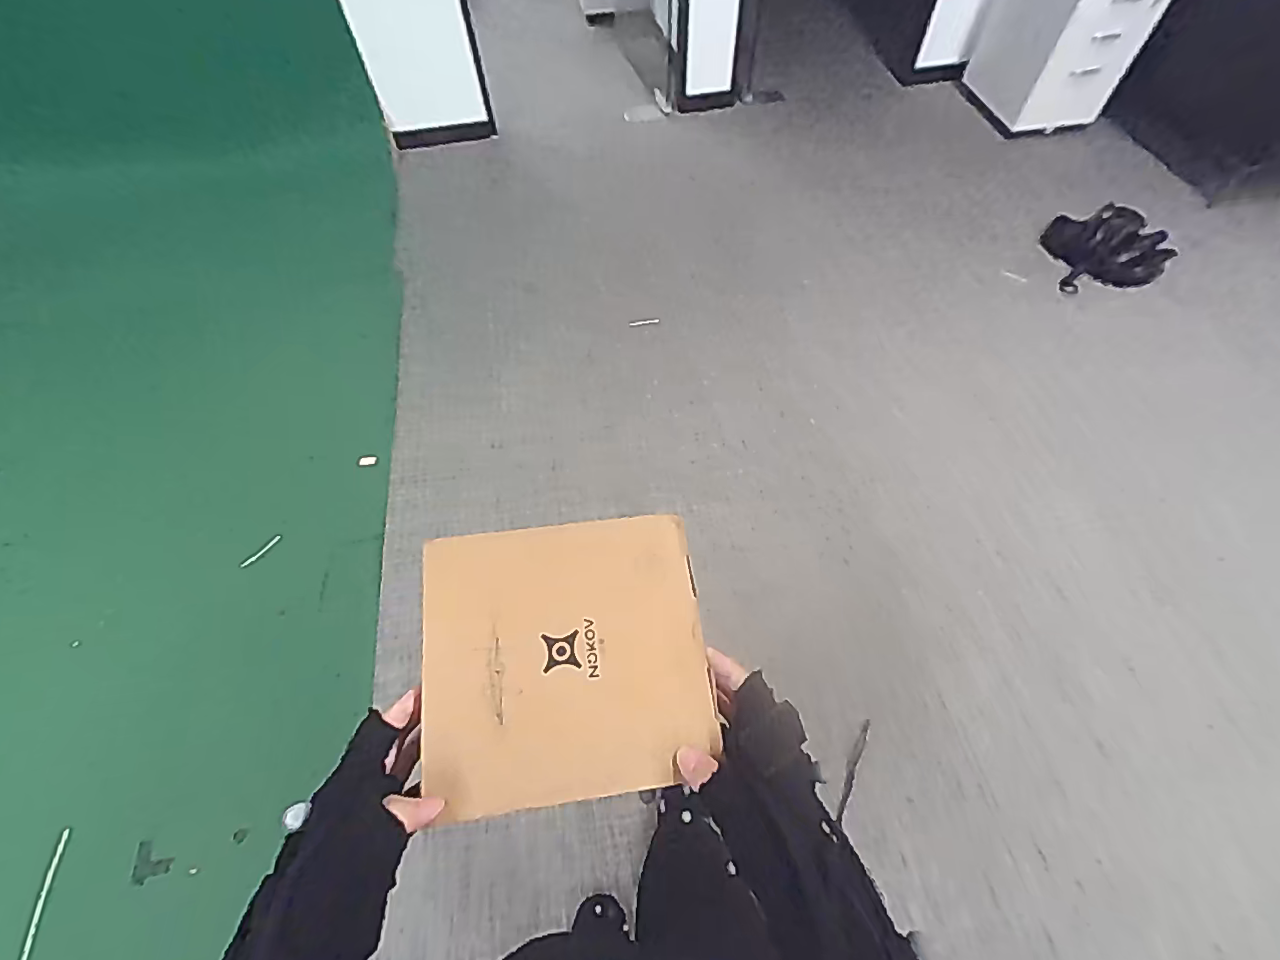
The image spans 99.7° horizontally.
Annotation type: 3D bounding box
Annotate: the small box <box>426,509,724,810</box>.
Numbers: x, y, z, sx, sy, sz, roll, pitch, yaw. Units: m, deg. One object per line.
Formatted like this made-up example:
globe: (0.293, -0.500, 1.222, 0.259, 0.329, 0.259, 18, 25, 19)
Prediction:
small box: (-0.050, 0.135, 0.417, 0.179, 0.176, 0.168, -7, 66, -6)
